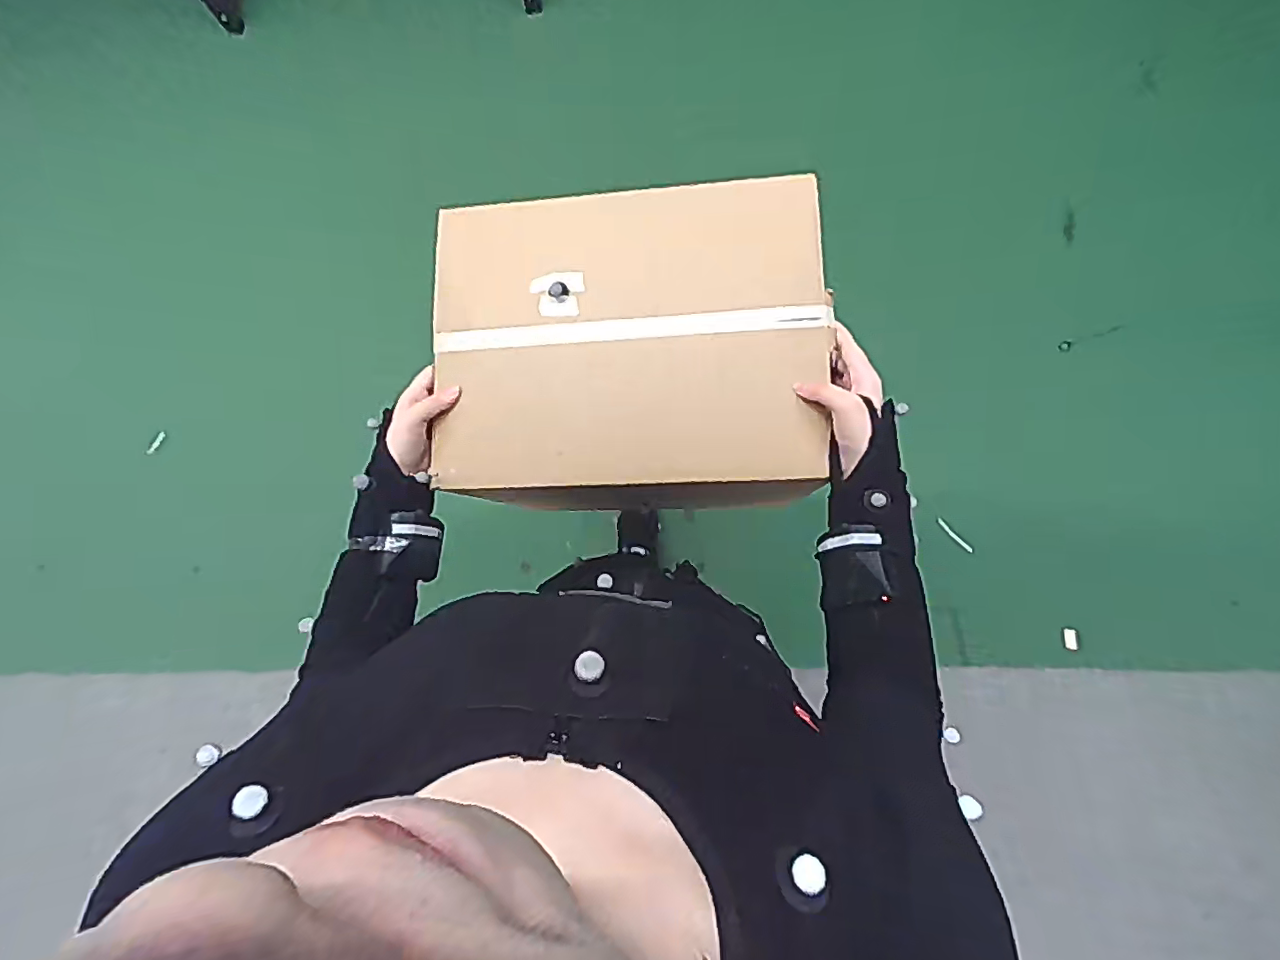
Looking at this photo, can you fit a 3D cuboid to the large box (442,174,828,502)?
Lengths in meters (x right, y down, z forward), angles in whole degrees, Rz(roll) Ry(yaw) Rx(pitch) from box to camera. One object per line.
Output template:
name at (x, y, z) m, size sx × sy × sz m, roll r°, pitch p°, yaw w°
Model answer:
large box at (0.005, -0.138, 0.711) m, size 0.408 × 0.320 × 0.320 m, roll -2°, pitch 82°, yaw 9°
